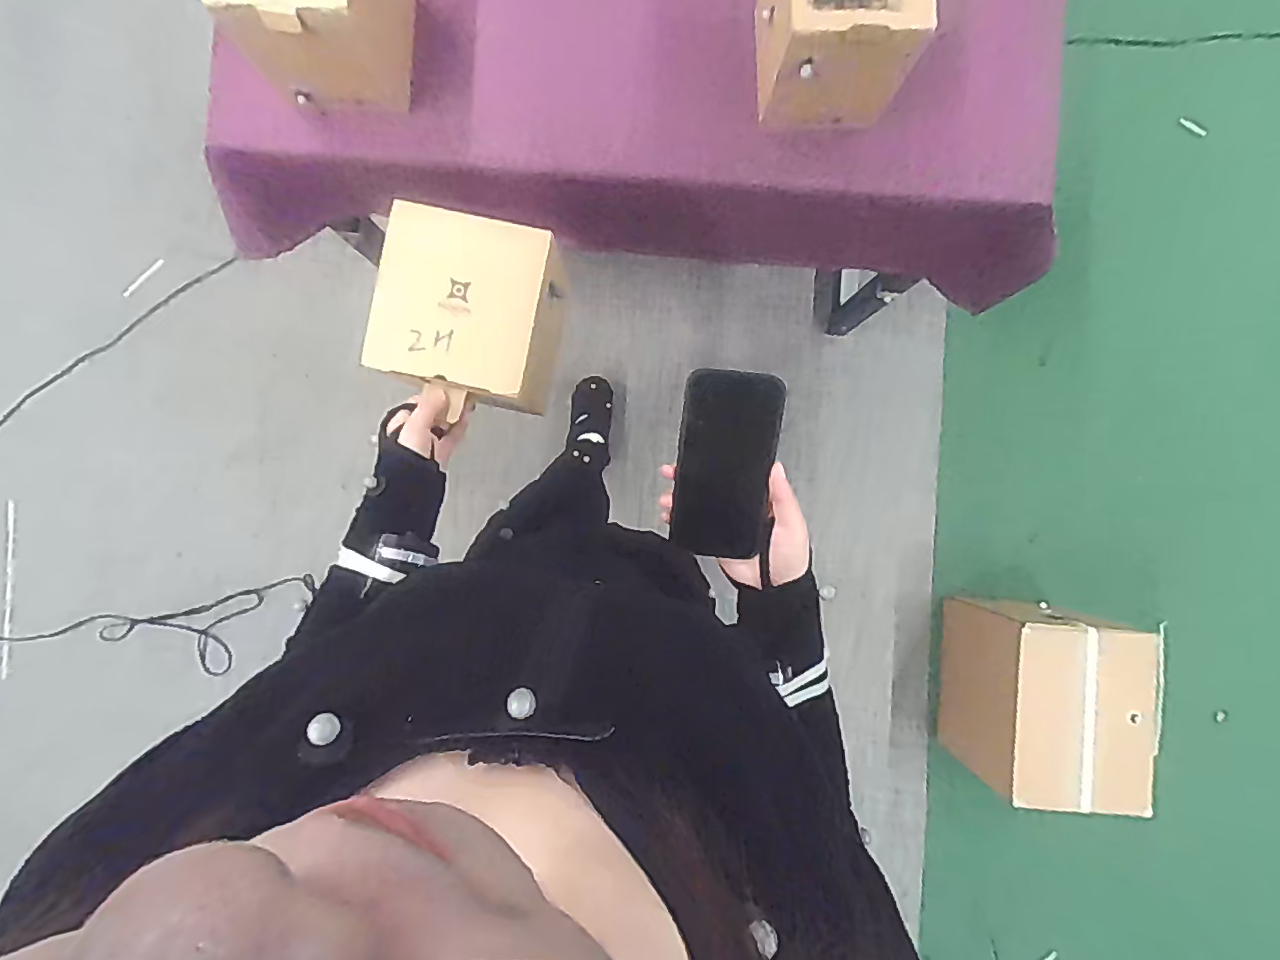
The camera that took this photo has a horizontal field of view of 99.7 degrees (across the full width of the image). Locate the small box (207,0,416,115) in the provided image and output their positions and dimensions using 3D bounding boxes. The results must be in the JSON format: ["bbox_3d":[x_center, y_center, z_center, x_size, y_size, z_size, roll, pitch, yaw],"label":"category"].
[{"bbox_3d":[-0.399,-0.602,0.685,0.168,0.176,0.179,2,88,-1],"label":"small box"}]

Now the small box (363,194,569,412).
[{"bbox_3d":[-0.184,-0.189,0.627,0.168,0.176,0.179,13,90,0],"label":"small box"}]
